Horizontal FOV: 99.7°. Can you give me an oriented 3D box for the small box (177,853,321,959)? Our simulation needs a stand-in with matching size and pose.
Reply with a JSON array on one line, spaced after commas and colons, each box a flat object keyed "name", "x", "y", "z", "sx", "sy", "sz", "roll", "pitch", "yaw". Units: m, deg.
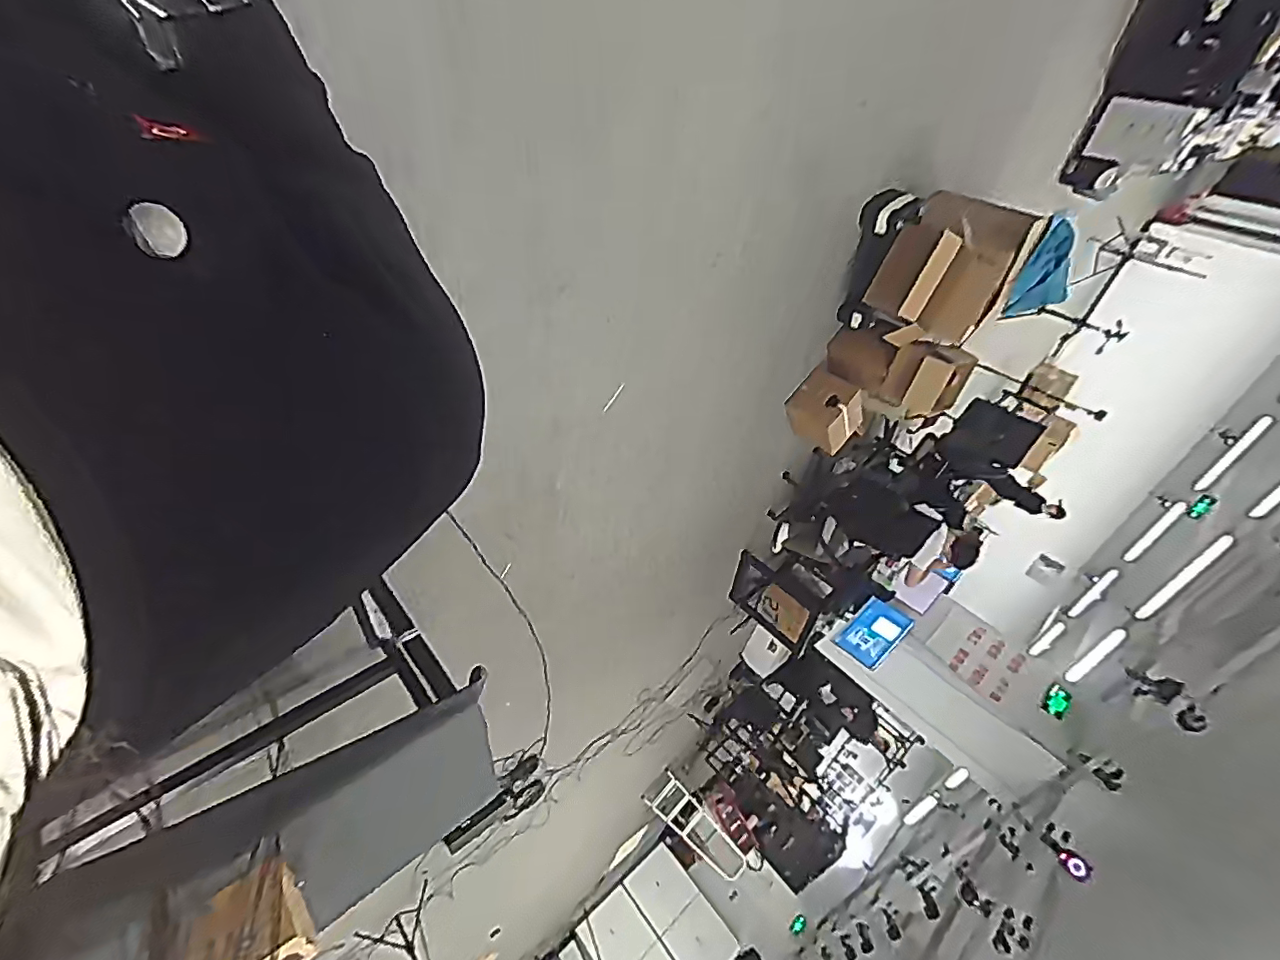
[{"name": "small box", "x": -0.788, "y": 0.911, "z": 1.097, "sx": 0.179, "sy": 0.176, "sz": 0.168, "roll": -26, "pitch": 140, "yaw": -34}]
